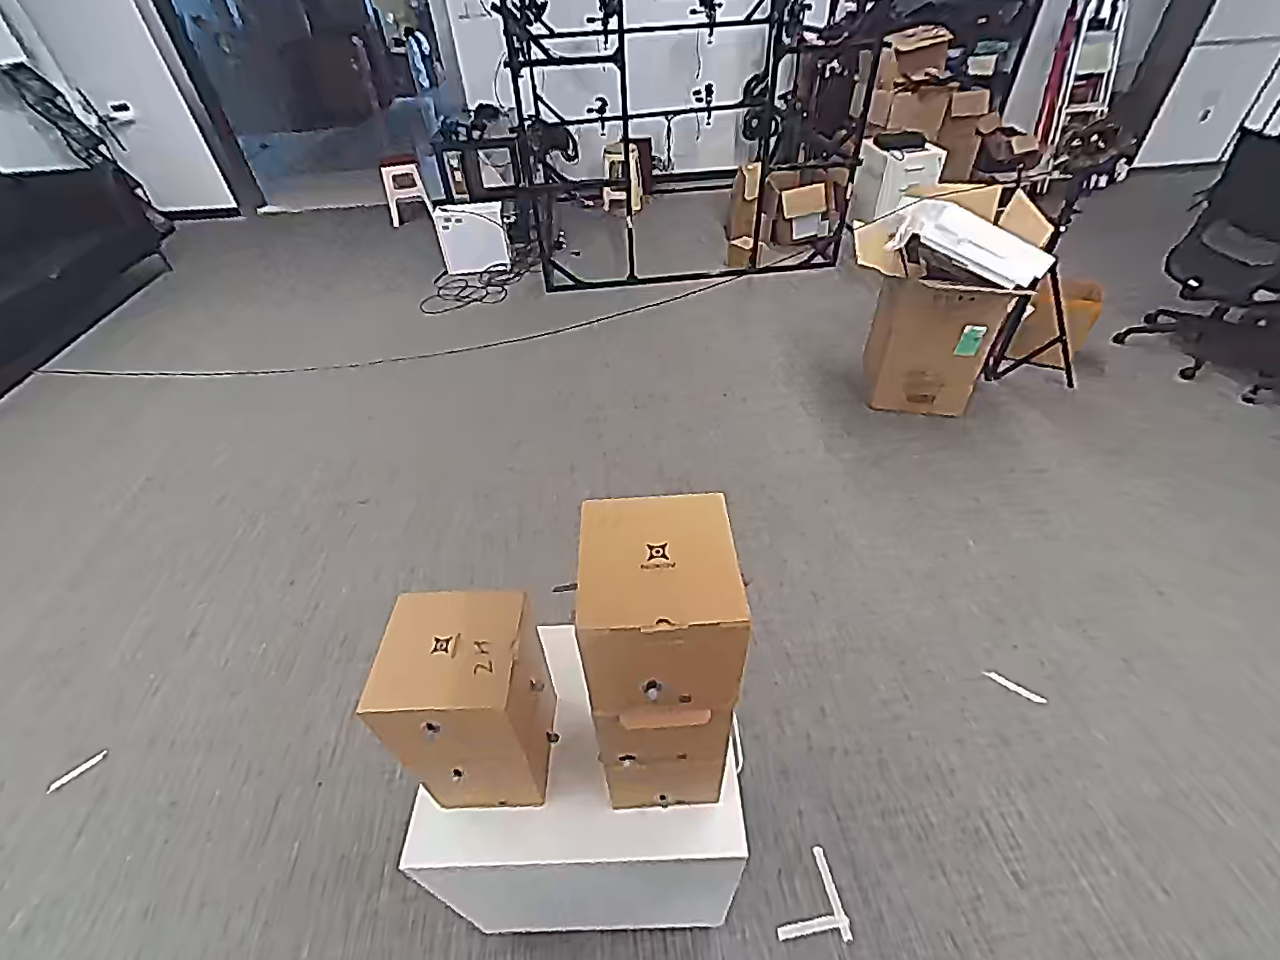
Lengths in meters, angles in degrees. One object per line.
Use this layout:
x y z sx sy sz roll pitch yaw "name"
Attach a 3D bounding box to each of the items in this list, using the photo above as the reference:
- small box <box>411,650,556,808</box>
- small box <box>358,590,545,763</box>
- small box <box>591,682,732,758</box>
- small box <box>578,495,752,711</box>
-0.228 0.384 0.842 0.168 0.176 0.179 -2 42 2 "small box"
-0.235 0.266 0.727 0.179 0.176 0.168 -2 43 1 "small box"
0.027 0.256 0.725 0.168 0.176 0.179 -4 42 0 "small box"
0.022 0.138 0.614 0.168 0.176 0.179 -3 43 -1 "small box"
